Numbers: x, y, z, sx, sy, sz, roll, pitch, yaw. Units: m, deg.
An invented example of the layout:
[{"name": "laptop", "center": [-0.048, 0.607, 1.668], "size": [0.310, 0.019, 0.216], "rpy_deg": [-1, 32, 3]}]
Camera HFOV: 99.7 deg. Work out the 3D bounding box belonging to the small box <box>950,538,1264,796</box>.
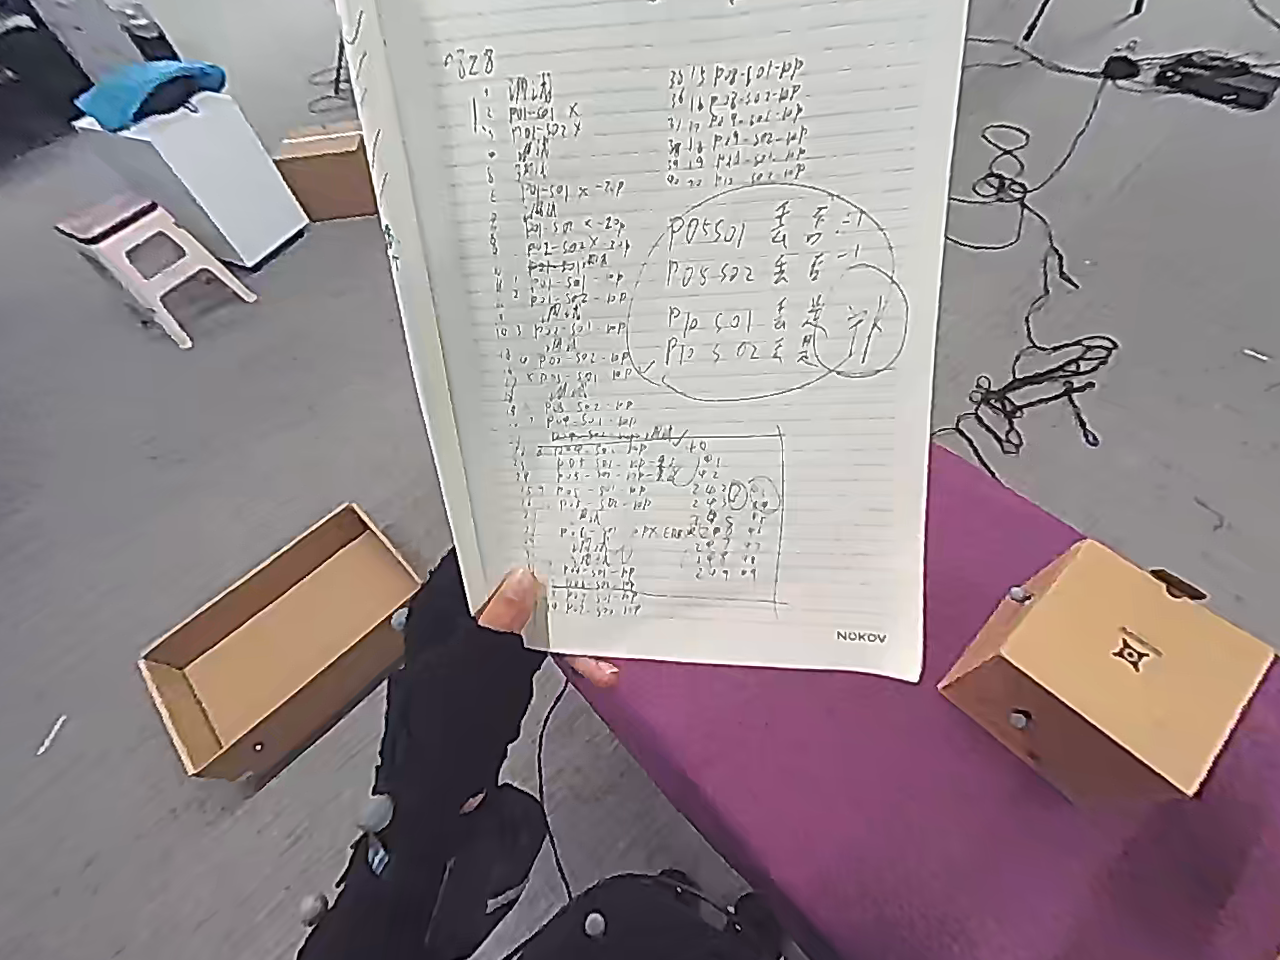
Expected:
[{"name": "small box", "center": [0.464, 0.202, 0.572], "size": [0.179, 0.176, 0.168], "rpy_deg": [-39, 61, -19]}]
